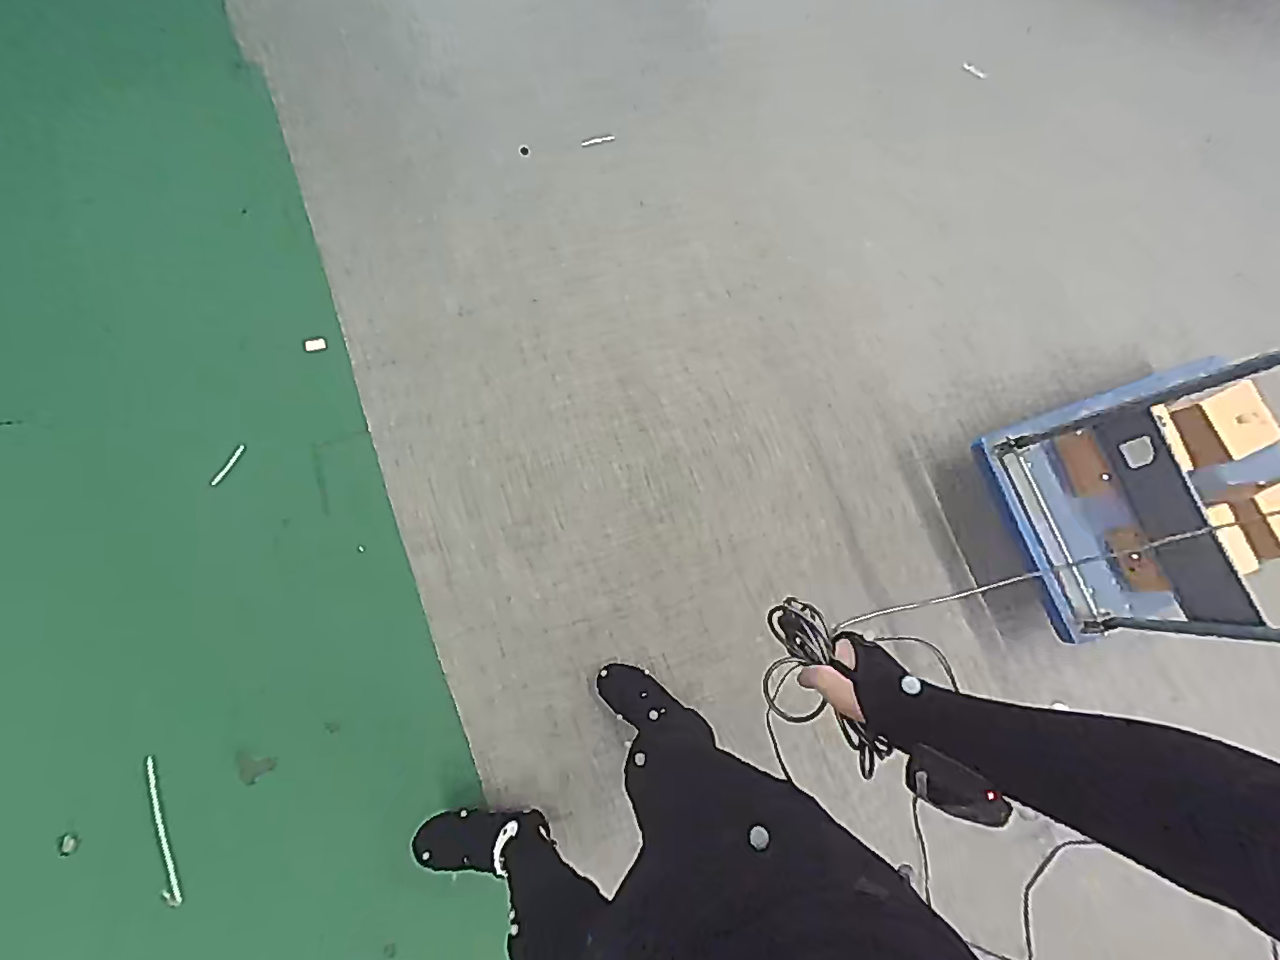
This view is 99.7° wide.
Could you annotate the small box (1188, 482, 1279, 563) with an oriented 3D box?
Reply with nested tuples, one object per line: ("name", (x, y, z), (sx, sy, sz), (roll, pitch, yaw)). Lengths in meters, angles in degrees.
("small box", (1.588, 0.109, 1.389), (0.179, 0.176, 0.168), (-19, 81, -9))

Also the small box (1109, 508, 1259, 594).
("small box", (1.344, 0.179, 1.348), (0.179, 0.176, 0.168), (-17, 81, -9))

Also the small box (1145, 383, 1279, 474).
("small box", (1.498, -0.128, 1.426), (0.179, 0.176, 0.168), (-21, 82, -10))
